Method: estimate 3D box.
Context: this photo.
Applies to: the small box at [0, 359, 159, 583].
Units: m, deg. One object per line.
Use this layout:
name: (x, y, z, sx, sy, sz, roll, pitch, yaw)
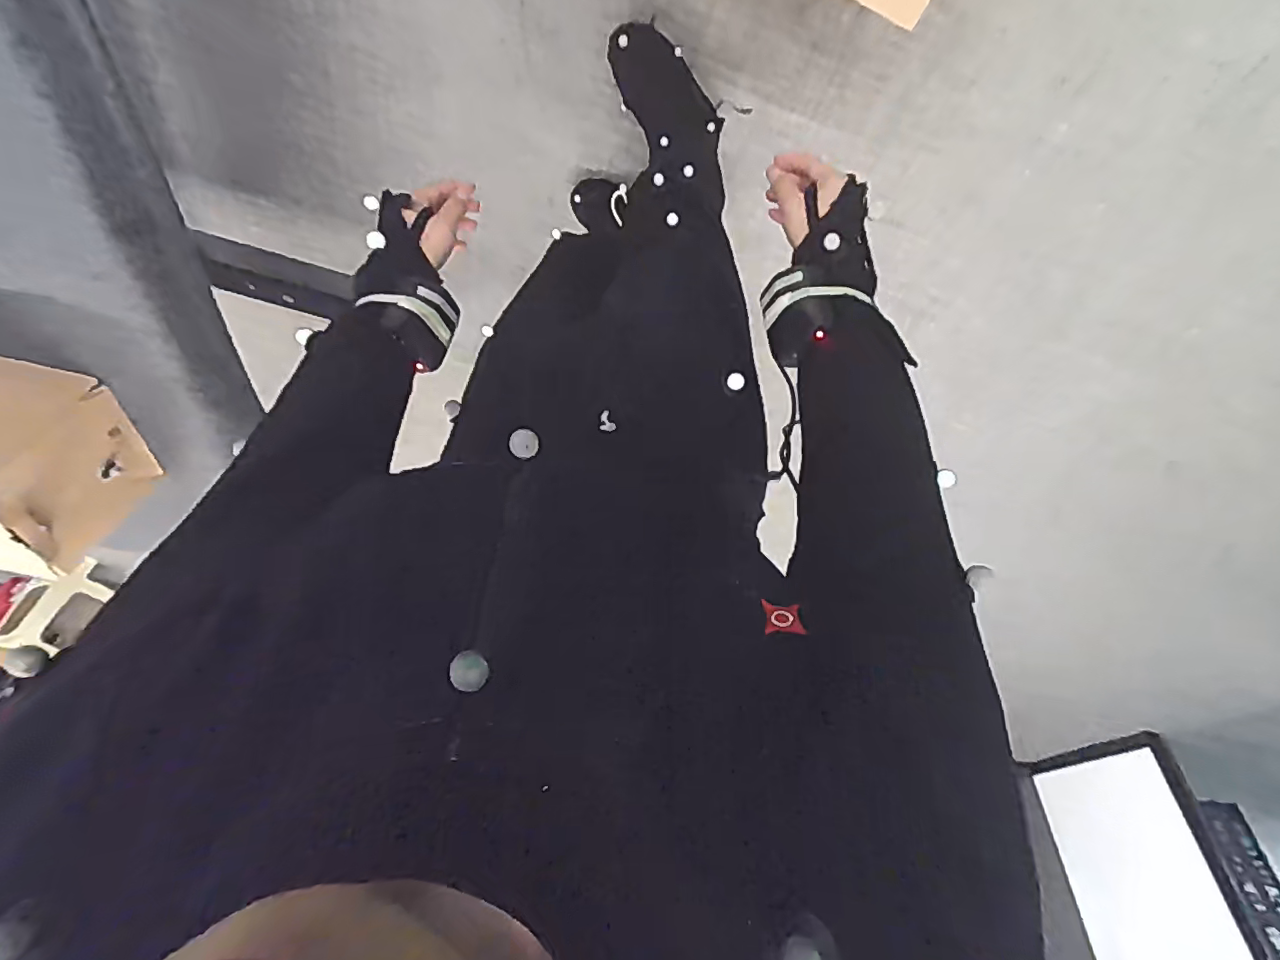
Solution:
small box: (-0.692, -0.016, 0.583, 0.179, 0.176, 0.168, 13, 138, -7)
